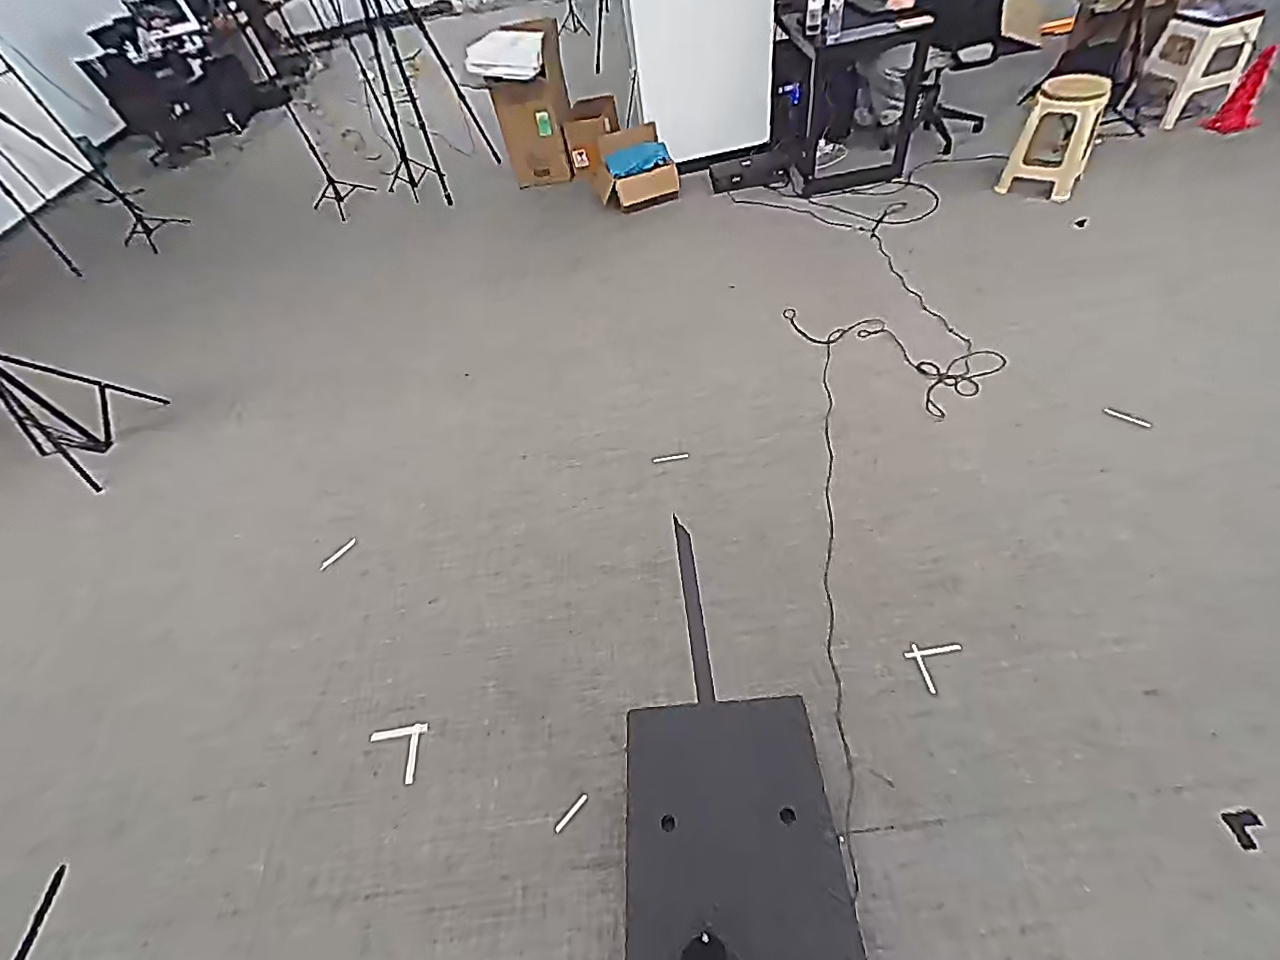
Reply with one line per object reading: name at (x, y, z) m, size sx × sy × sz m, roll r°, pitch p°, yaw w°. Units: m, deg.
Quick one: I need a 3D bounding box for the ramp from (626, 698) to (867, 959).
ramp at (0.209, 0.954, 1.128) m, size 0.509 × 0.206 × 0.991 m, roll -9°, pitch 50°, yaw 5°
